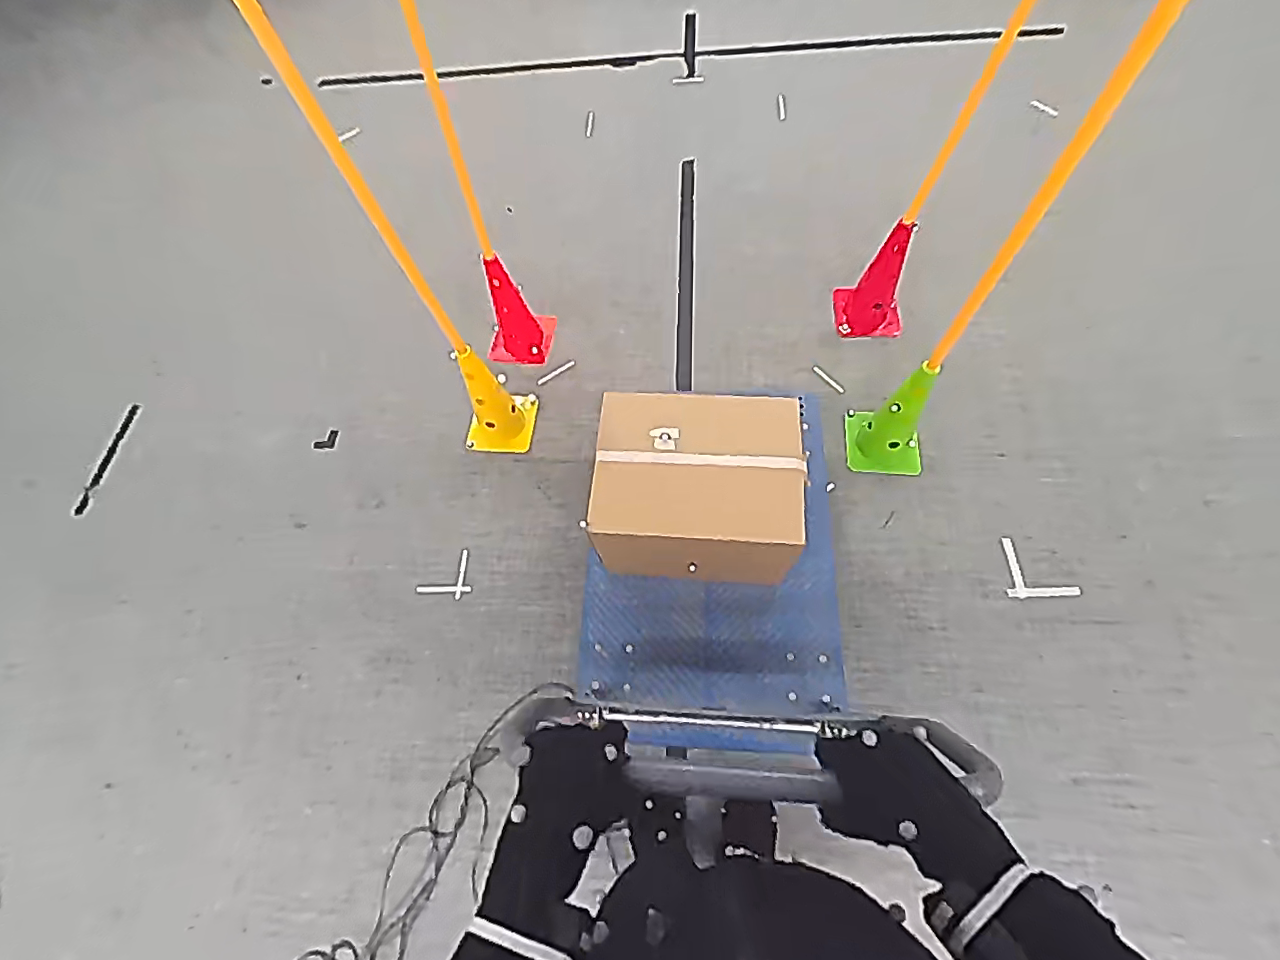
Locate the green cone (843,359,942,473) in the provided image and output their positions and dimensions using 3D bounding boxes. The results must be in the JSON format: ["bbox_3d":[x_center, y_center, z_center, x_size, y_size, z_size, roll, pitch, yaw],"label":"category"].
[{"bbox_3d":[0.683,-0.185,1.410,0.202,0.368,0.200,3,65,5],"label":"green cone"}]

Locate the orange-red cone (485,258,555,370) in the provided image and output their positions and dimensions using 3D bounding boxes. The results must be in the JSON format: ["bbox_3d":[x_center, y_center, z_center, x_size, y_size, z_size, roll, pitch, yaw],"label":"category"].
[{"bbox_3d":[-0.410,-0.535,1.677,0.198,0.360,0.199,7,64,7],"label":"orange-red cone"}]

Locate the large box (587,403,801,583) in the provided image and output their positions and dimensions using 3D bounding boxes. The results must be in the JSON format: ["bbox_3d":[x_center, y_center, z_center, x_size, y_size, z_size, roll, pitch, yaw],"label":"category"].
[{"bbox_3d":[0.121,0.040,1.197,0.408,0.320,0.320,2,65,7],"label":"large box"}]

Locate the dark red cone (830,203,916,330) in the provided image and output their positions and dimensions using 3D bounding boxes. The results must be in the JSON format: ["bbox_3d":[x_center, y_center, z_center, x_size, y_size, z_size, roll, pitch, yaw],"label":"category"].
[{"bbox_3d":[0.717,-0.631,1.597,0.201,0.394,0.202,0,65,3],"label":"dark red cone"}]
